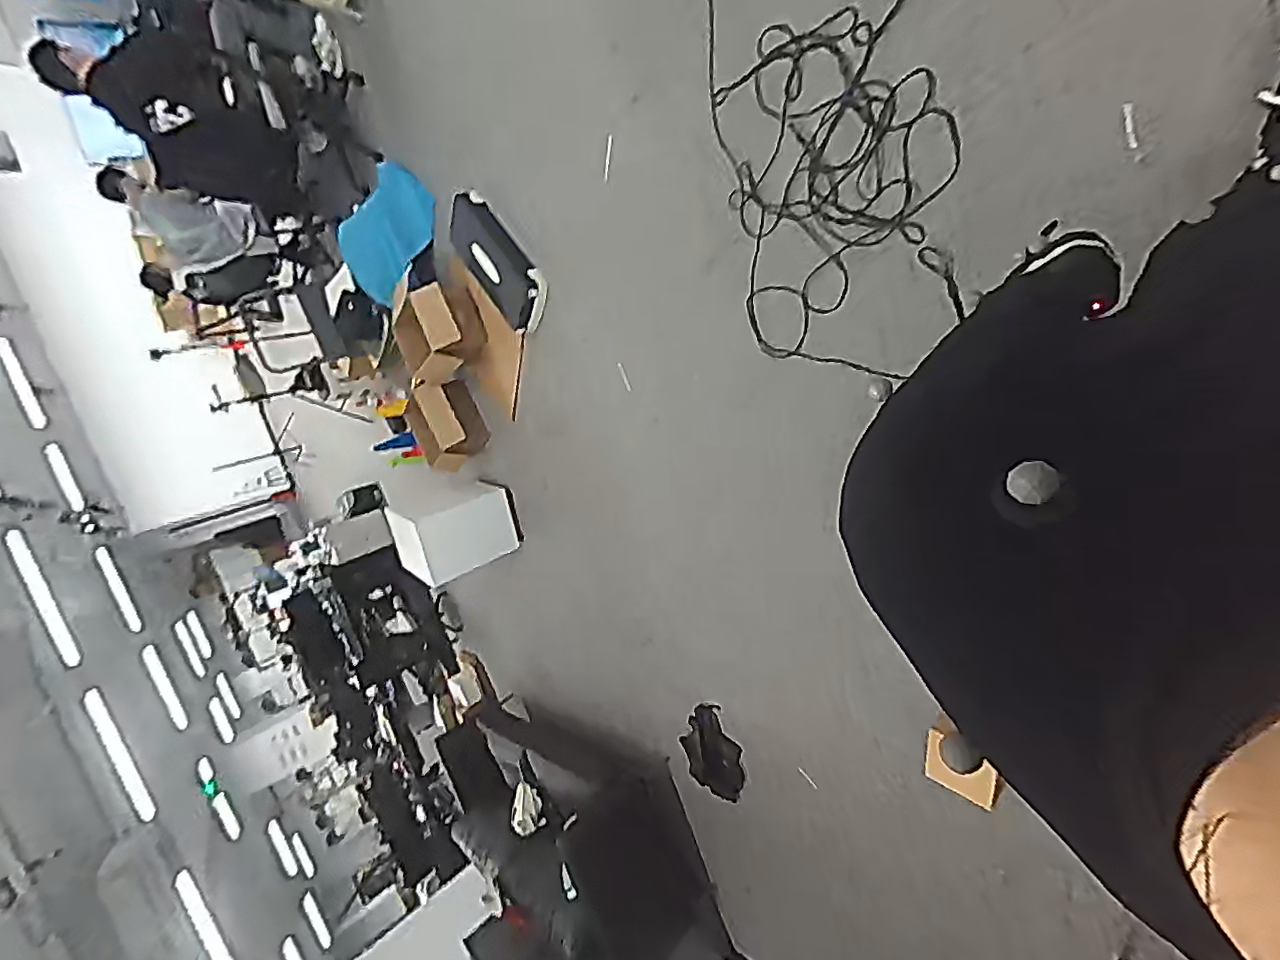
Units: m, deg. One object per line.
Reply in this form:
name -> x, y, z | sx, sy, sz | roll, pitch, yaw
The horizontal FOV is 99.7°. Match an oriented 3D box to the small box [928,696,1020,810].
small box -> 0.901, 0.727, 1.459 | 0.168, 0.176, 0.179 | 16, 121, 47
